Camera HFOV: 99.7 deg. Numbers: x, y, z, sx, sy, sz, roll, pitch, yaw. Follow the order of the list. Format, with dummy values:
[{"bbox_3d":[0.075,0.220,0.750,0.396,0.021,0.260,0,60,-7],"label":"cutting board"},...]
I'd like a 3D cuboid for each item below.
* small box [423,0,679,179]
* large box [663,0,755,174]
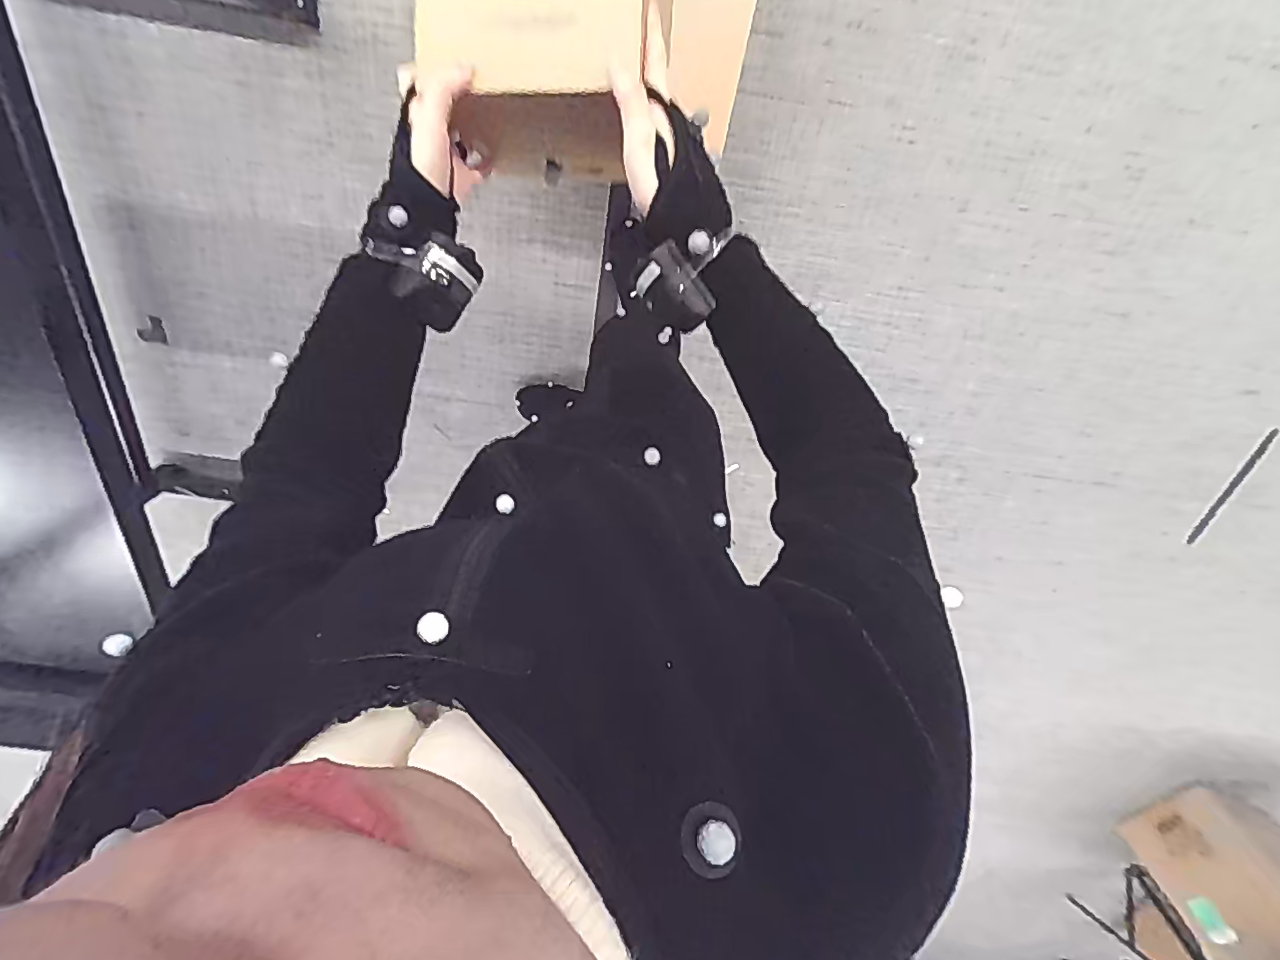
[{"bbox_3d":[-0.059,-0.379,0.448,0.168,0.176,0.179,5,99,7],"label":"small box"},{"bbox_3d":[0.016,-0.779,0.935,0.320,0.320,0.408,9,119,-5],"label":"large box"}]
